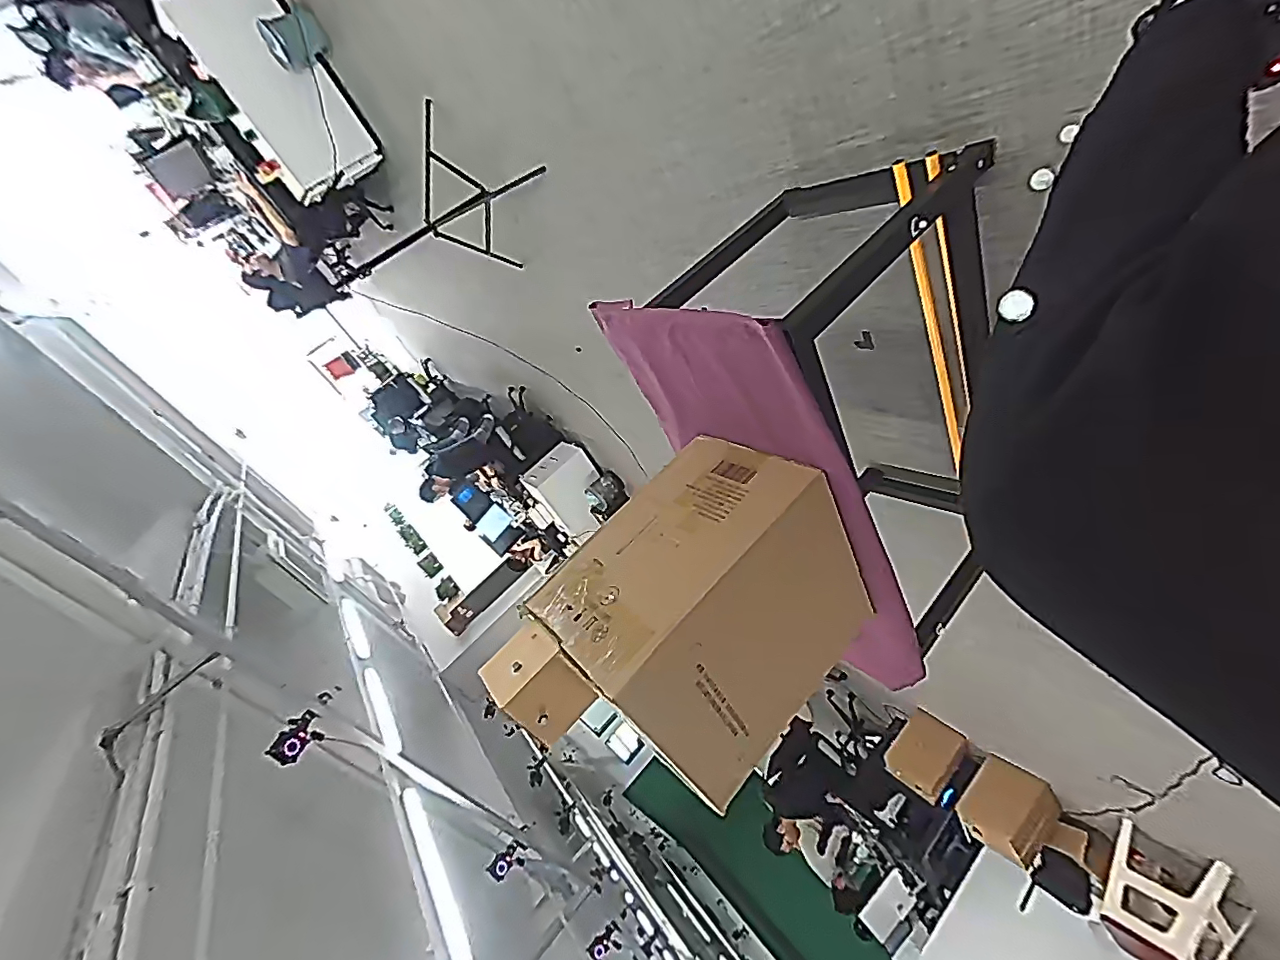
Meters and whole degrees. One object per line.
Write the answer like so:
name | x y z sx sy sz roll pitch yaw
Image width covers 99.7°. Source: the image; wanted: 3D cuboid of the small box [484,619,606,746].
small box | -0.211 0.443 1.211 0.168 0.176 0.179 20 151 56
